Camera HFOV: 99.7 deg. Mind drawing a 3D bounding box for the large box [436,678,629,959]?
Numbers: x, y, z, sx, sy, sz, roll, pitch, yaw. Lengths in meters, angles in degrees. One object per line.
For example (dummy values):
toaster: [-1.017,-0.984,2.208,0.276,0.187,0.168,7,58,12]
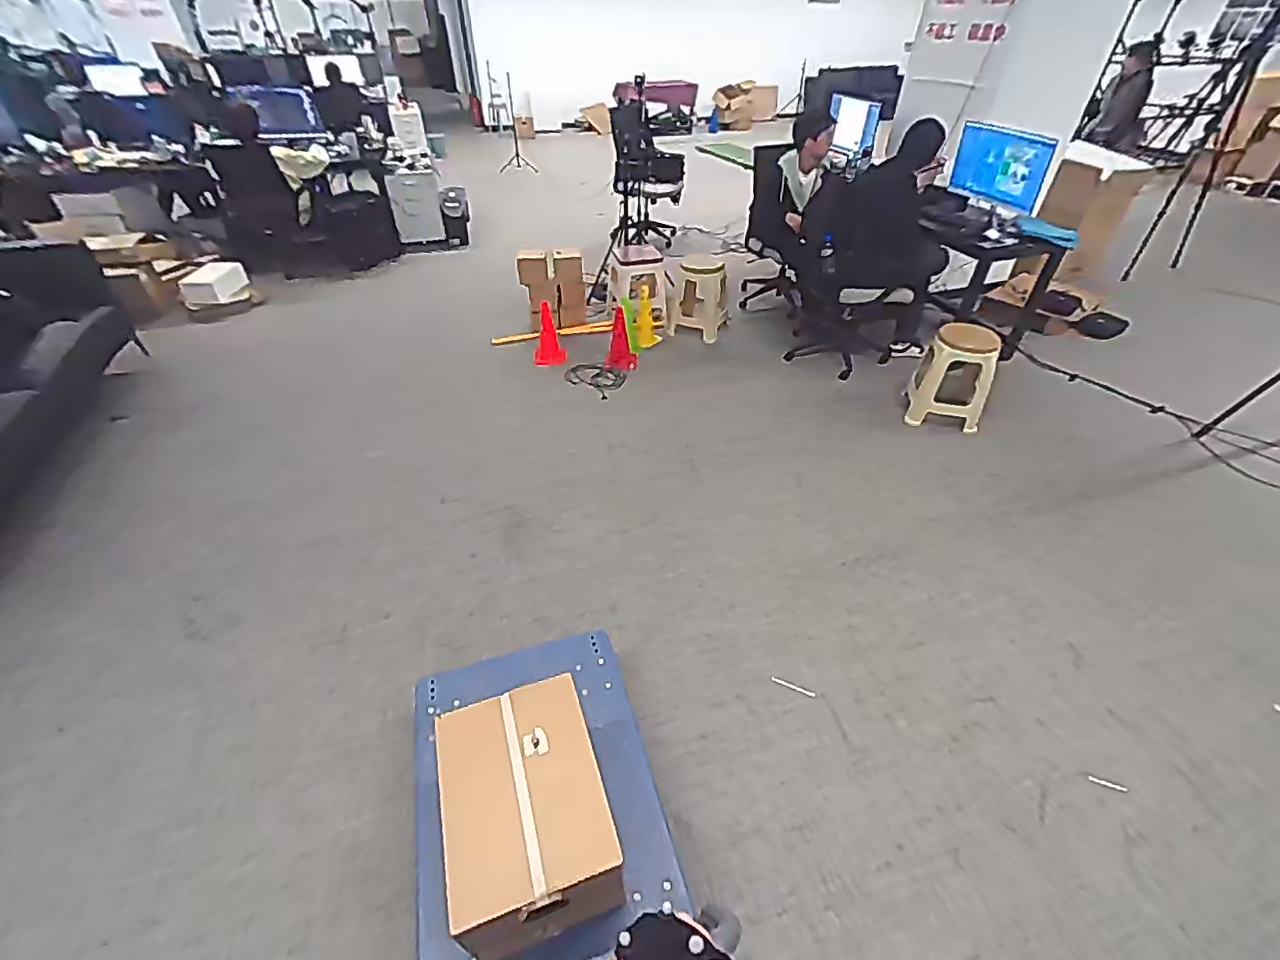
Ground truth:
large box: [-0.238,0.735,1.198,0.320,0.320,0.408,-14,43,-15]
